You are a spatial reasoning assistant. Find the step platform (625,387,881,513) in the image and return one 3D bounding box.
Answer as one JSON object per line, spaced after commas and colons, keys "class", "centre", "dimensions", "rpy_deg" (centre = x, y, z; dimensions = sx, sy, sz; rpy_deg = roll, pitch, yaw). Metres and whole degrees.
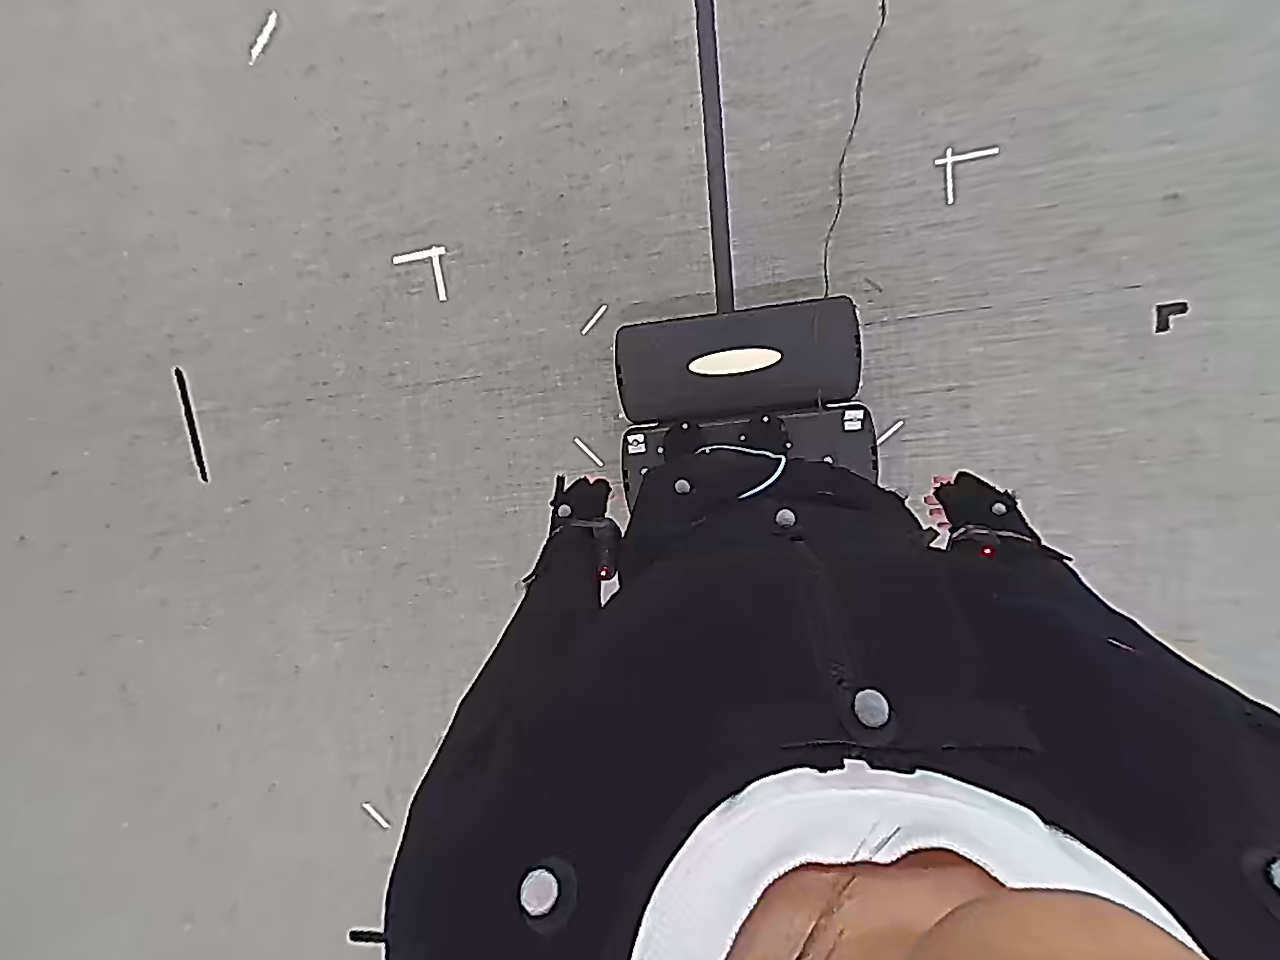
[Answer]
{"class": "step platform", "centre": [0.300, -0.079, 1.511], "dimensions": [0.684, 0.204, 0.286], "rpy_deg": [-6, 97, 10]}
